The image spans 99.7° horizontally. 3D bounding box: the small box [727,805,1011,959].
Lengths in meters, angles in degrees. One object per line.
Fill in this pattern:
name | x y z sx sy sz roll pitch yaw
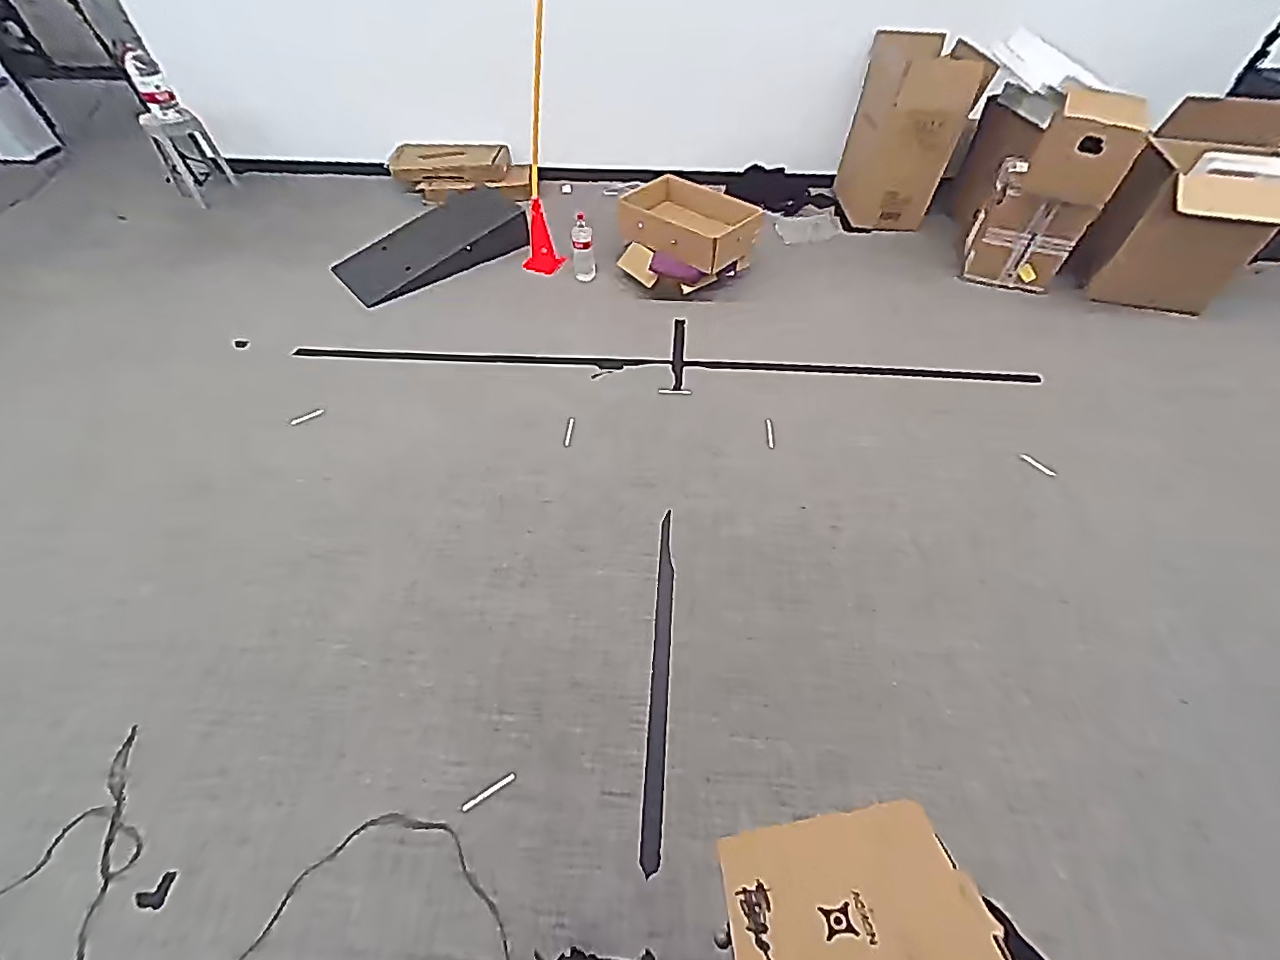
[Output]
small box | 0.177 0.396 0.415 0.179 0.176 0.168 -14 15 5
